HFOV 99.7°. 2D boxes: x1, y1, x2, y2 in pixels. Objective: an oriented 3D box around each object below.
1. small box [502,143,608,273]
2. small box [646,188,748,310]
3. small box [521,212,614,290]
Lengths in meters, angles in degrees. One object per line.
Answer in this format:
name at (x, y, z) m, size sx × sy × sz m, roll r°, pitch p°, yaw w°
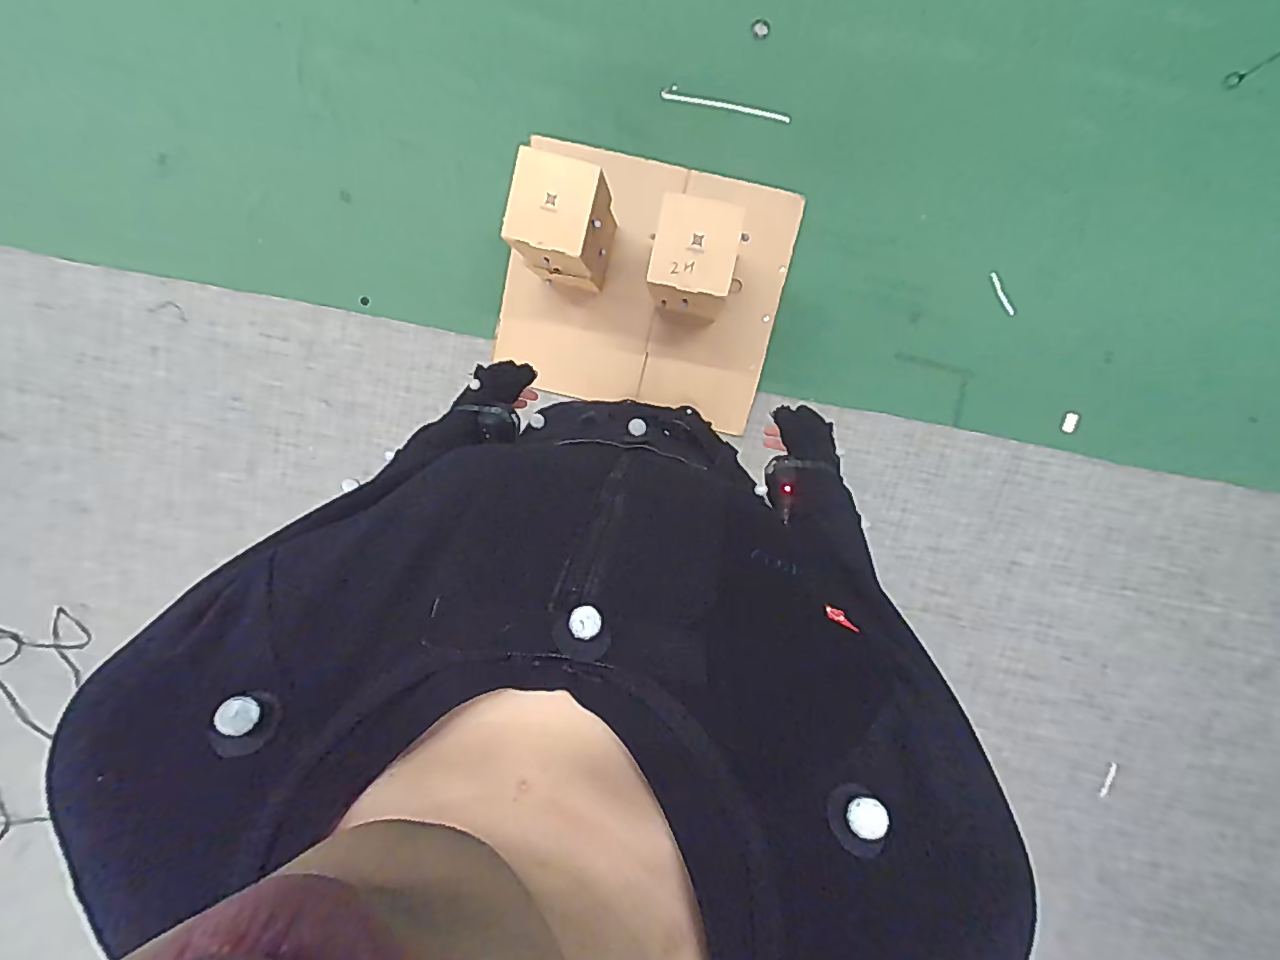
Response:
small box at (-0.168, -0.554, 1.126) m, size 0.168 × 0.176 × 0.179 m, roll 16°, pitch 100°, yaw 1°
small box at (0.114, -0.468, 1.120) m, size 0.168 × 0.176 × 0.179 m, roll 13°, pitch 99°, yaw 2°
small box at (-0.165, -0.569, 1.288) m, size 0.168 × 0.176 × 0.179 m, roll 15°, pitch 99°, yaw 2°
